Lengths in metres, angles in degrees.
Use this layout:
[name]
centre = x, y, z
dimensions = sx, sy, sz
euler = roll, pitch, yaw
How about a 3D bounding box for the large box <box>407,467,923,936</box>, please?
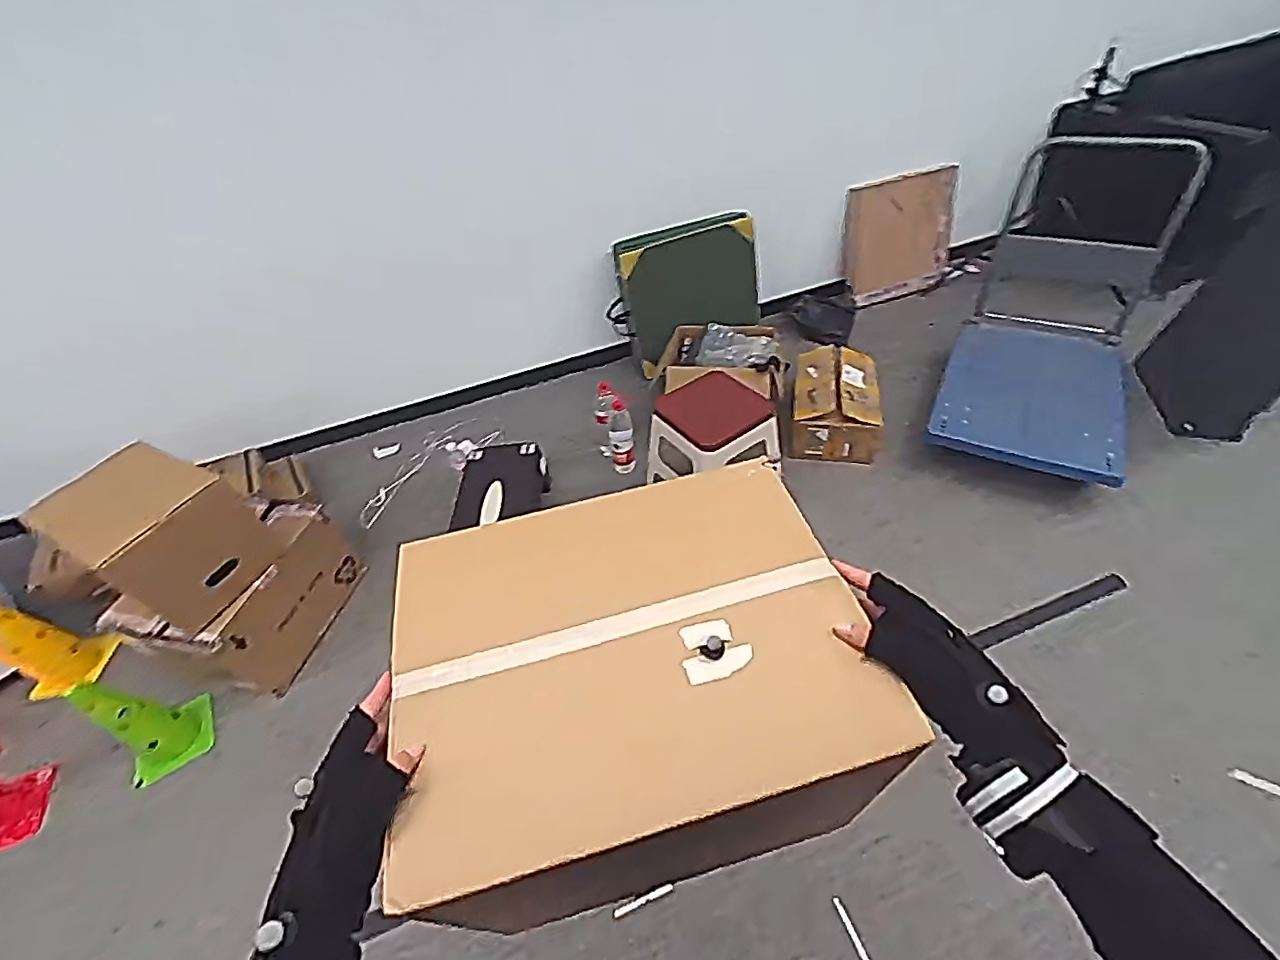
[large box]
centre = 0.002, 0.238, 0.598
dimensions = 0.408, 0.320, 0.320
euler = -13, 48, -7
